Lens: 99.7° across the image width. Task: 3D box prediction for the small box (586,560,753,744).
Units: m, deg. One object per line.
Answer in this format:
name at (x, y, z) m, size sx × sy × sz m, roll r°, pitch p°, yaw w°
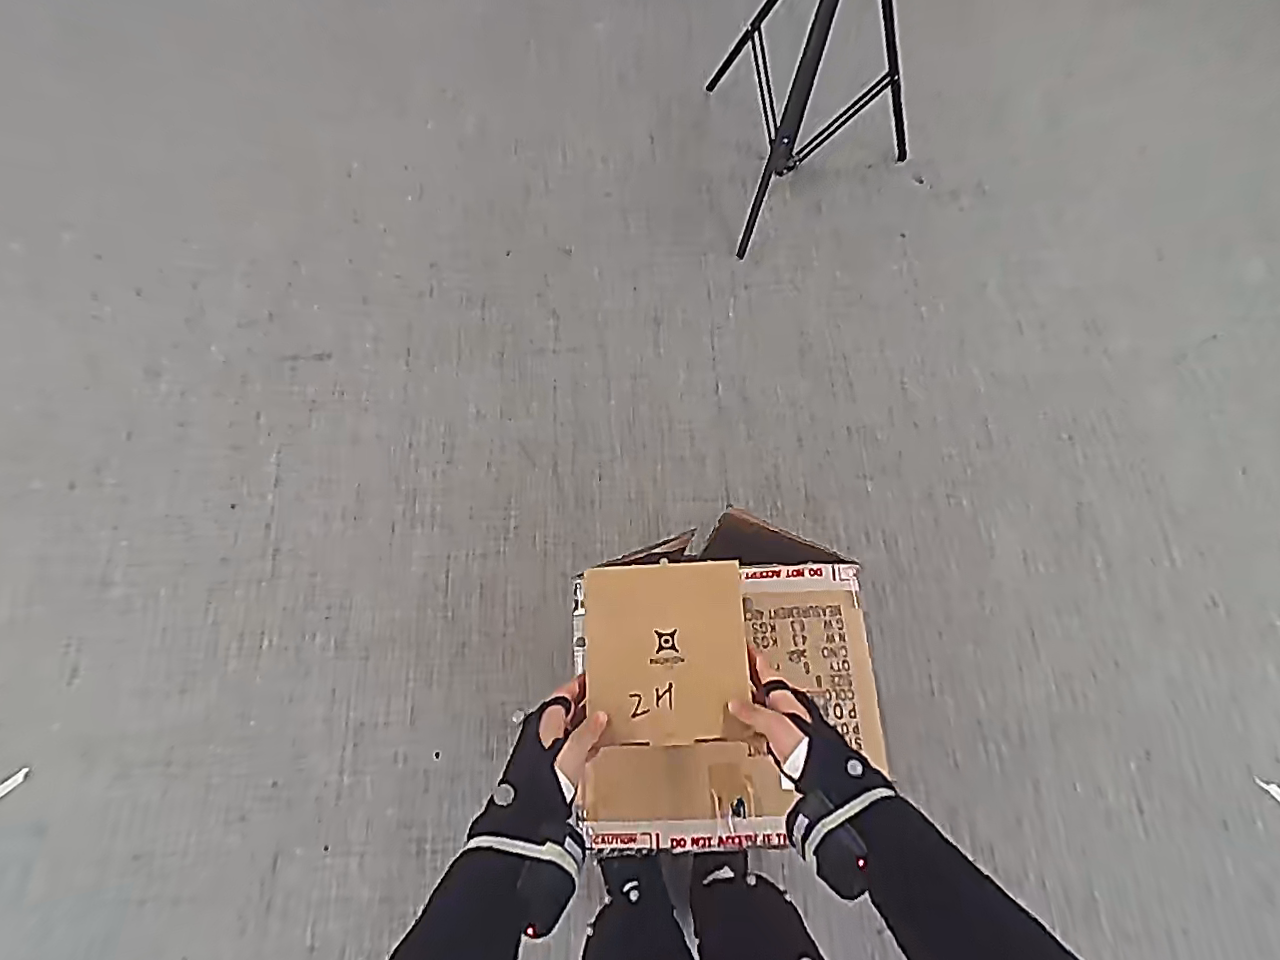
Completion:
small box at (0.027, 0.193, 0.625) m, size 0.168 × 0.176 × 0.179 m, roll -3°, pitch 75°, yaw 1°
